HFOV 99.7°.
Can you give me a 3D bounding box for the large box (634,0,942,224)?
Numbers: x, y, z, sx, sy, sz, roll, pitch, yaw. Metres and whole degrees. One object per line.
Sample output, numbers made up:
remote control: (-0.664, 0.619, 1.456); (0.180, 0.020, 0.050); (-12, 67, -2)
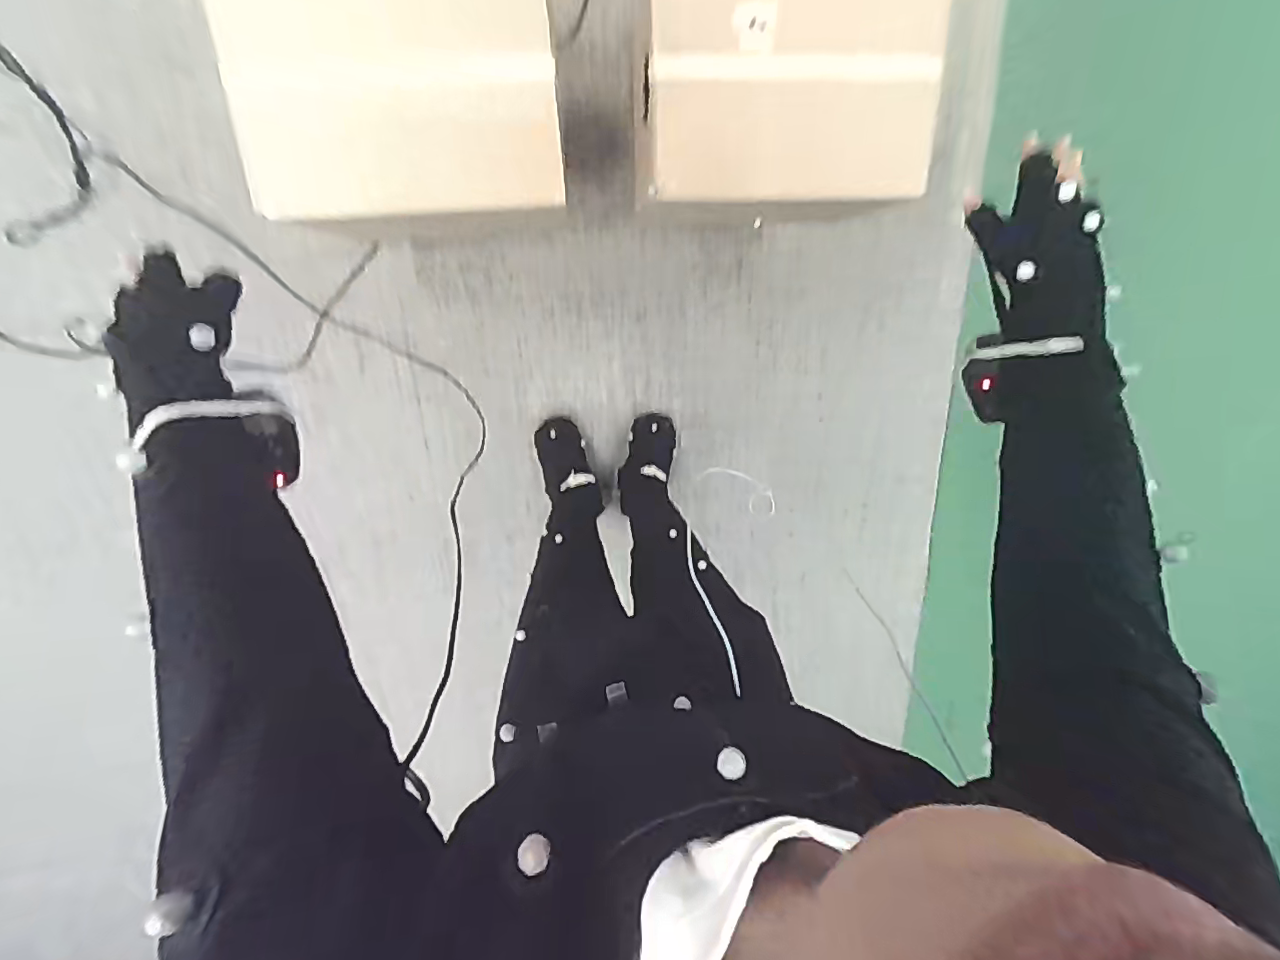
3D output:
large box: (0.204, -0.607, 0.893); (0.408, 0.320, 0.320); (-3, 109, -5)
